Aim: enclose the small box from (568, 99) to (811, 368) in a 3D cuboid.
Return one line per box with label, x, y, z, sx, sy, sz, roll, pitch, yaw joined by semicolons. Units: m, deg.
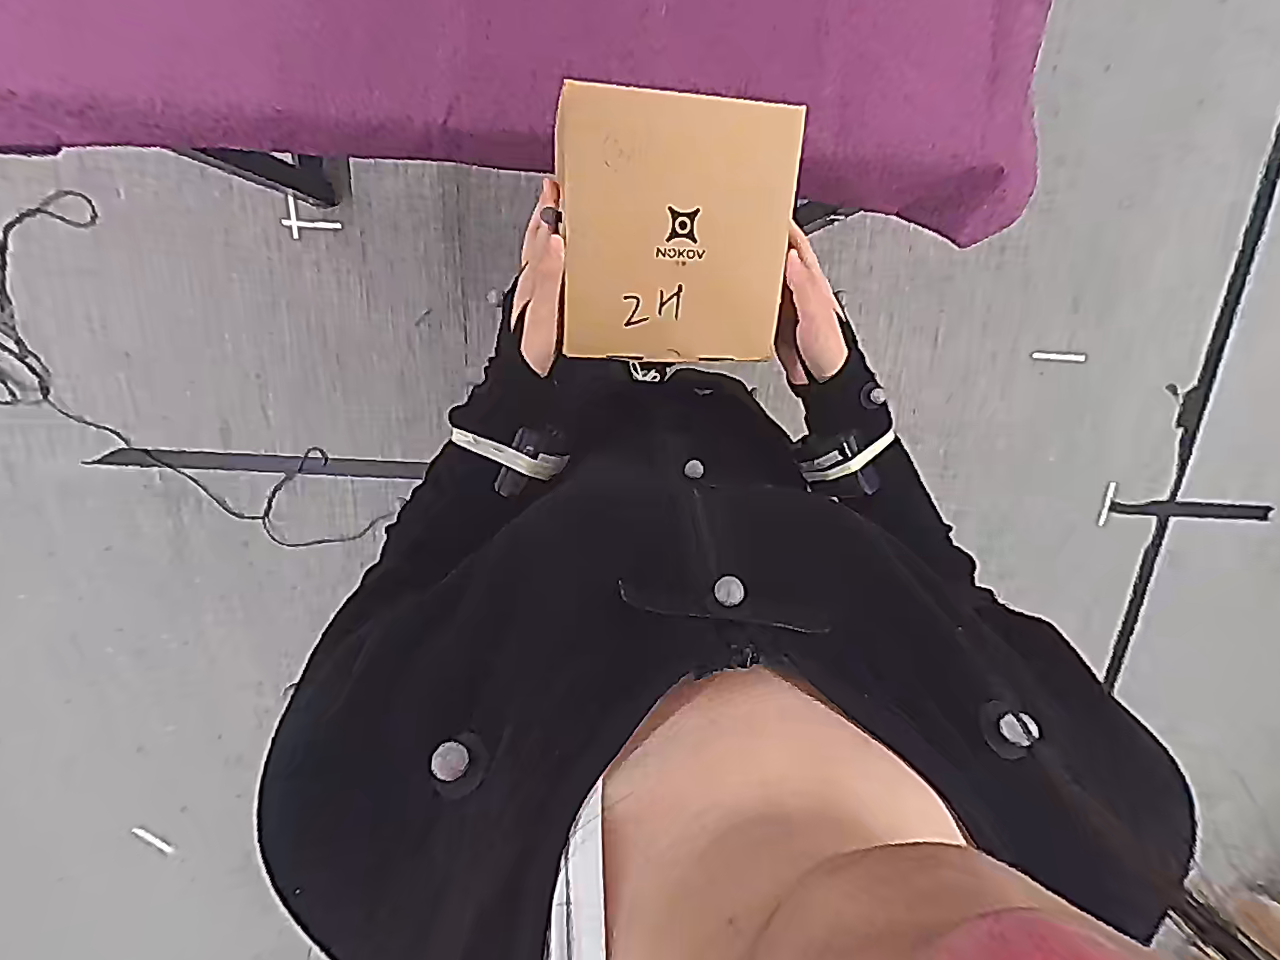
small box;0.025;-0.197;0.470;0.168;0.176;0.179;-2;110;-10
